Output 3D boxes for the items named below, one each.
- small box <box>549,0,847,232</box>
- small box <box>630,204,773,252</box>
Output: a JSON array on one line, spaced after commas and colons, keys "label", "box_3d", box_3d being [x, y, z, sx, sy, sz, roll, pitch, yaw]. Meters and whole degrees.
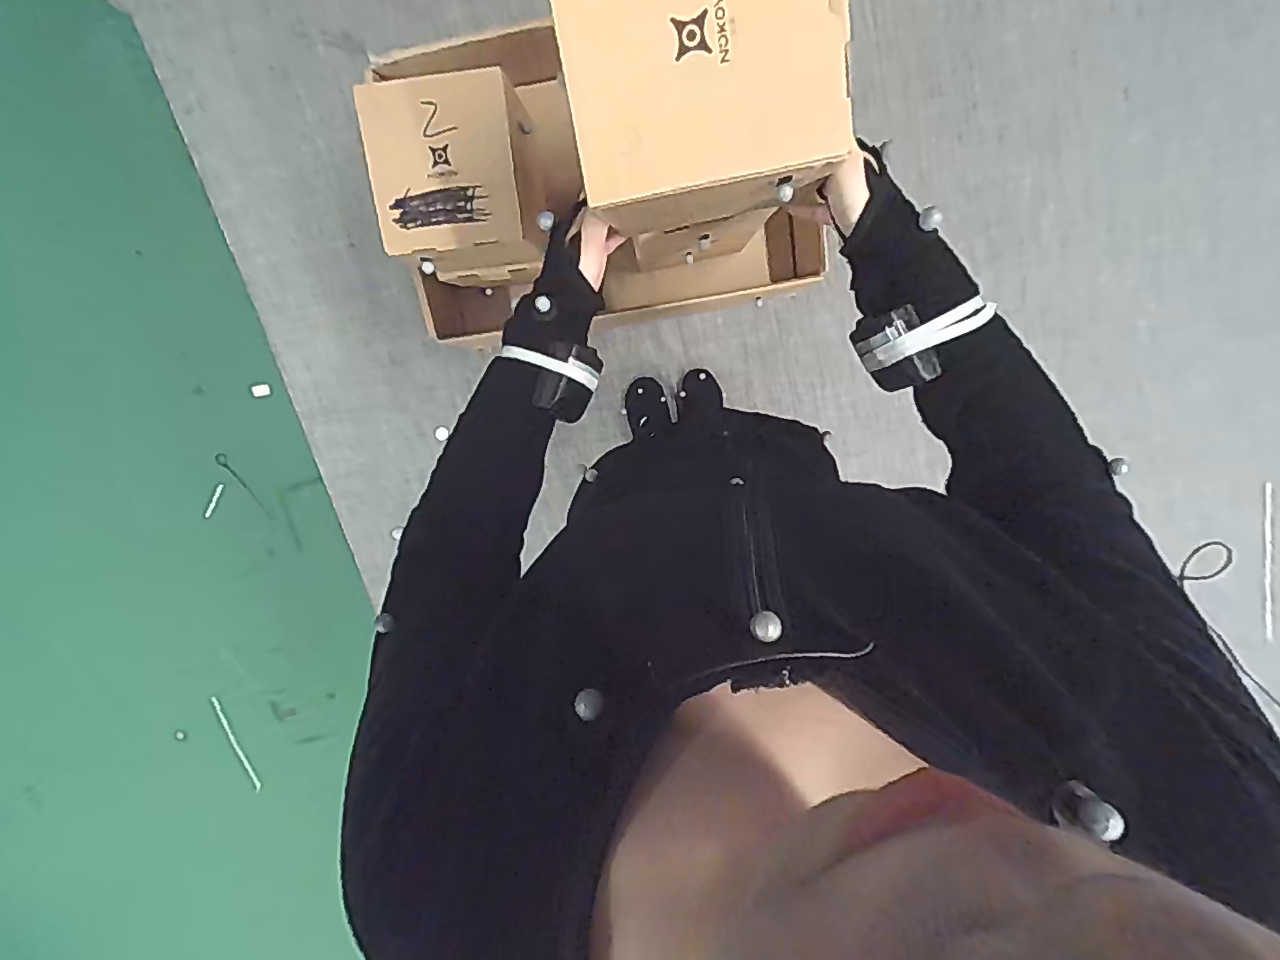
[{"label": "small box", "box_3d": [0.042, -0.298, 0.409, 0.179, 0.176, 0.168, -8, 107, 7]}, {"label": "small box", "box_3d": [0.058, -0.391, 0.665, 0.168, 0.176, 0.179, -11, 105, 5]}]
